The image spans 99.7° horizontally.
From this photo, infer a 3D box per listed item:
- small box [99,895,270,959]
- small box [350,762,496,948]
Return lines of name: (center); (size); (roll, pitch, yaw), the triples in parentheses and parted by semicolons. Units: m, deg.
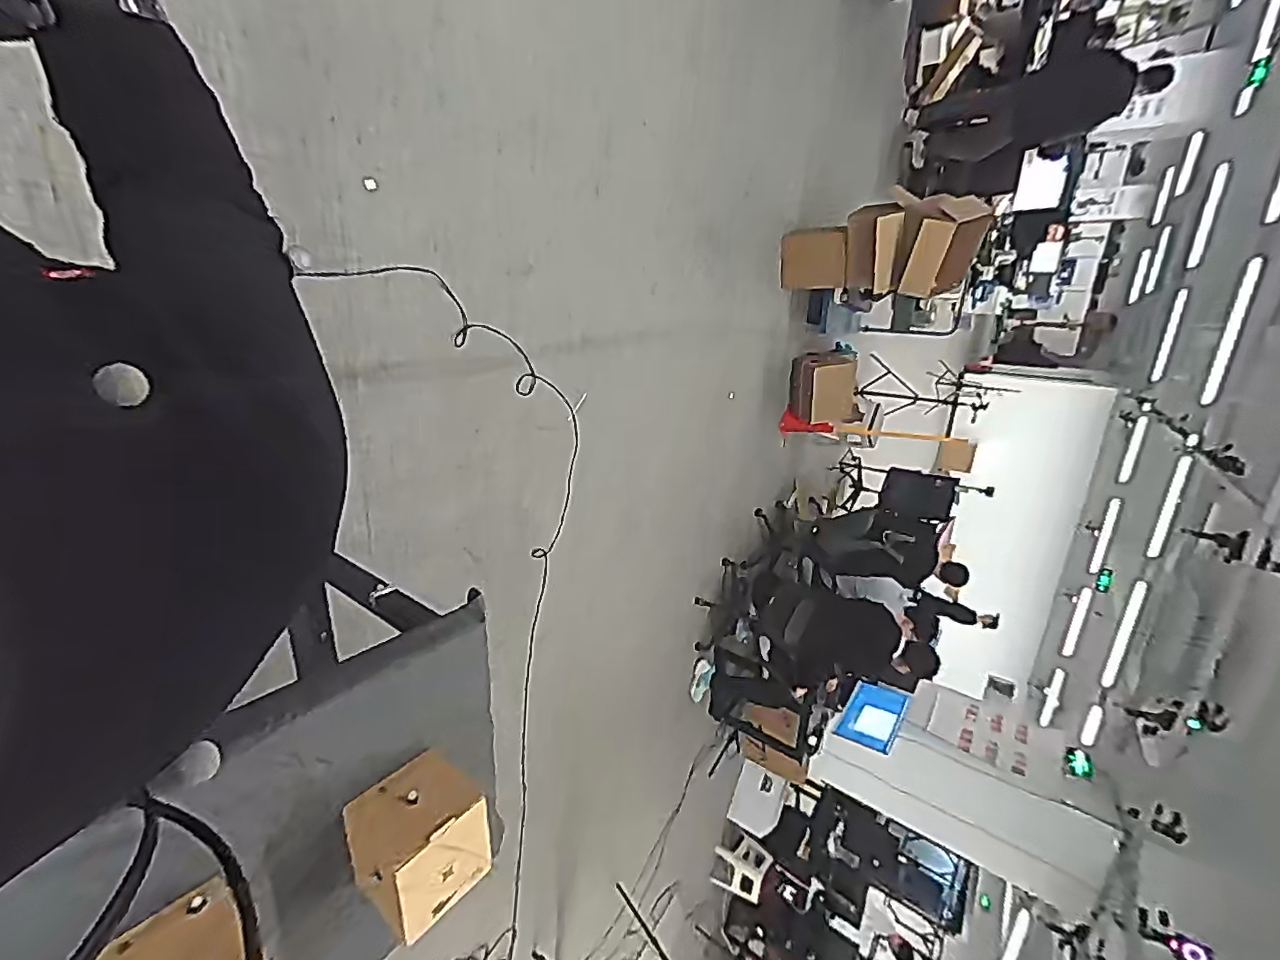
small box: (-0.572, 0.669, 0.668); (0.168, 0.176, 0.179); (-17, 117, -50)
small box: (-0.372, 0.621, 0.928); (0.168, 0.176, 0.179); (-21, 118, -49)
